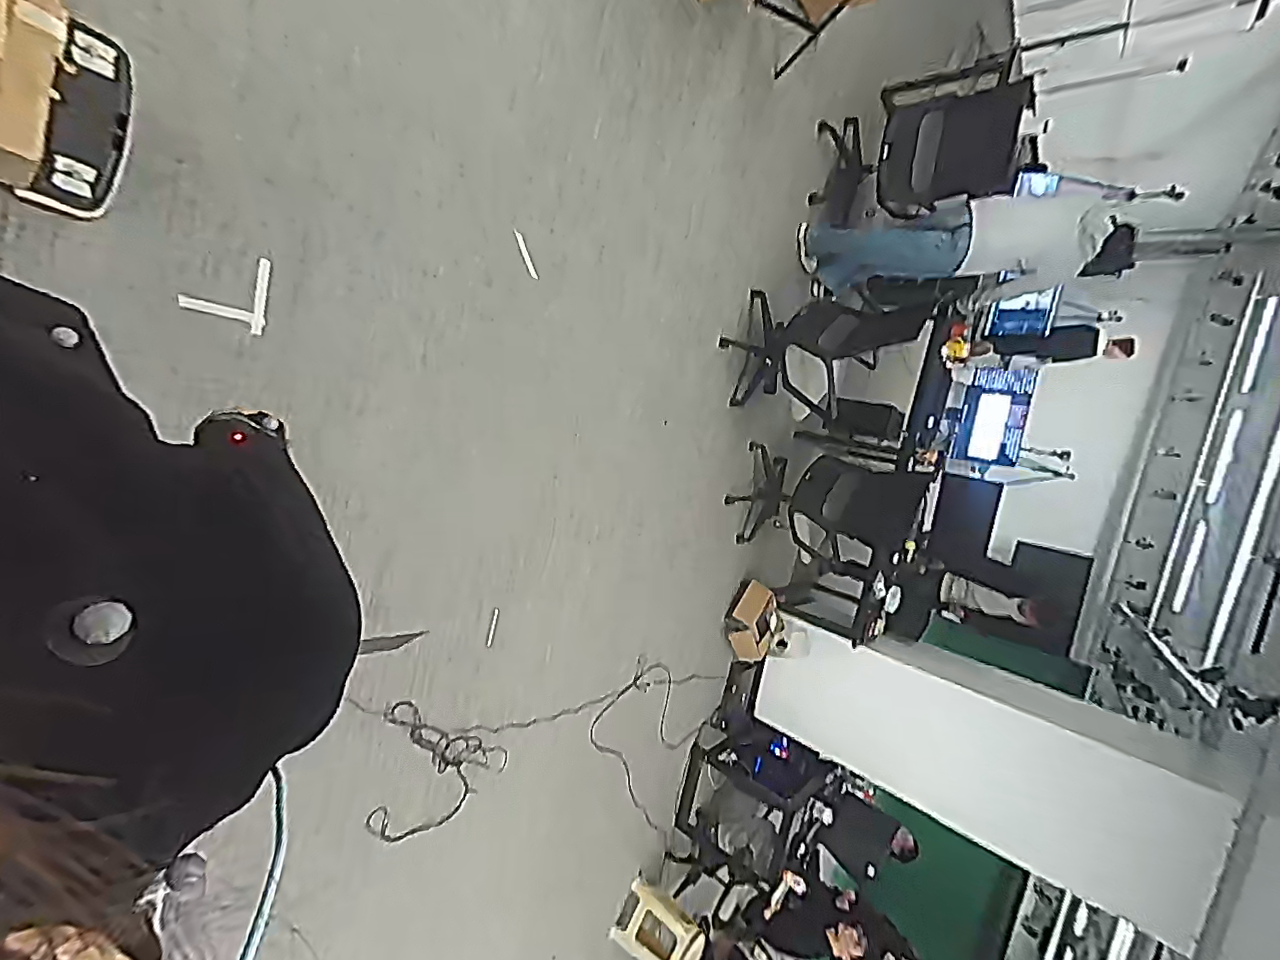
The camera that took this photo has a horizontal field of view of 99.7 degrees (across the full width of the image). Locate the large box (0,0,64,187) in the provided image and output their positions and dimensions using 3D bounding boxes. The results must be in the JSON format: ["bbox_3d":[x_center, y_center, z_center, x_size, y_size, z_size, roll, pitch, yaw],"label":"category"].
[{"bbox_3d":[-0.927,-0.576,0.585,0.408,0.320,0.320,7,97,-51],"label":"large box"}]
